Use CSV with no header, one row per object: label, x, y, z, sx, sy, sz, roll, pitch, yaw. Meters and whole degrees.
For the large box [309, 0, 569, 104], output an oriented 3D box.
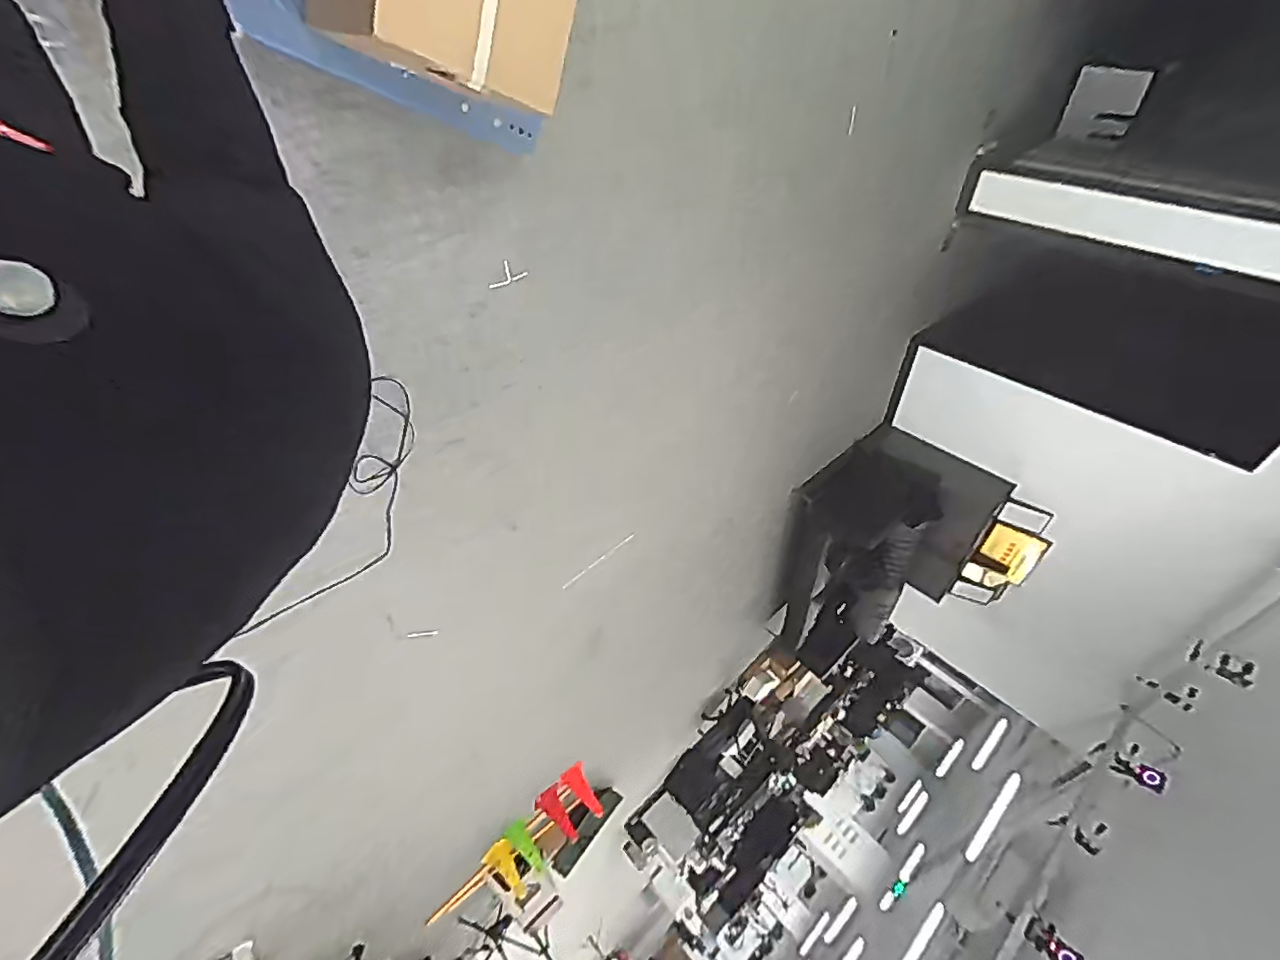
large box,-0.310,-0.894,0.861,0.320,0.320,0.408,-9,126,-47
